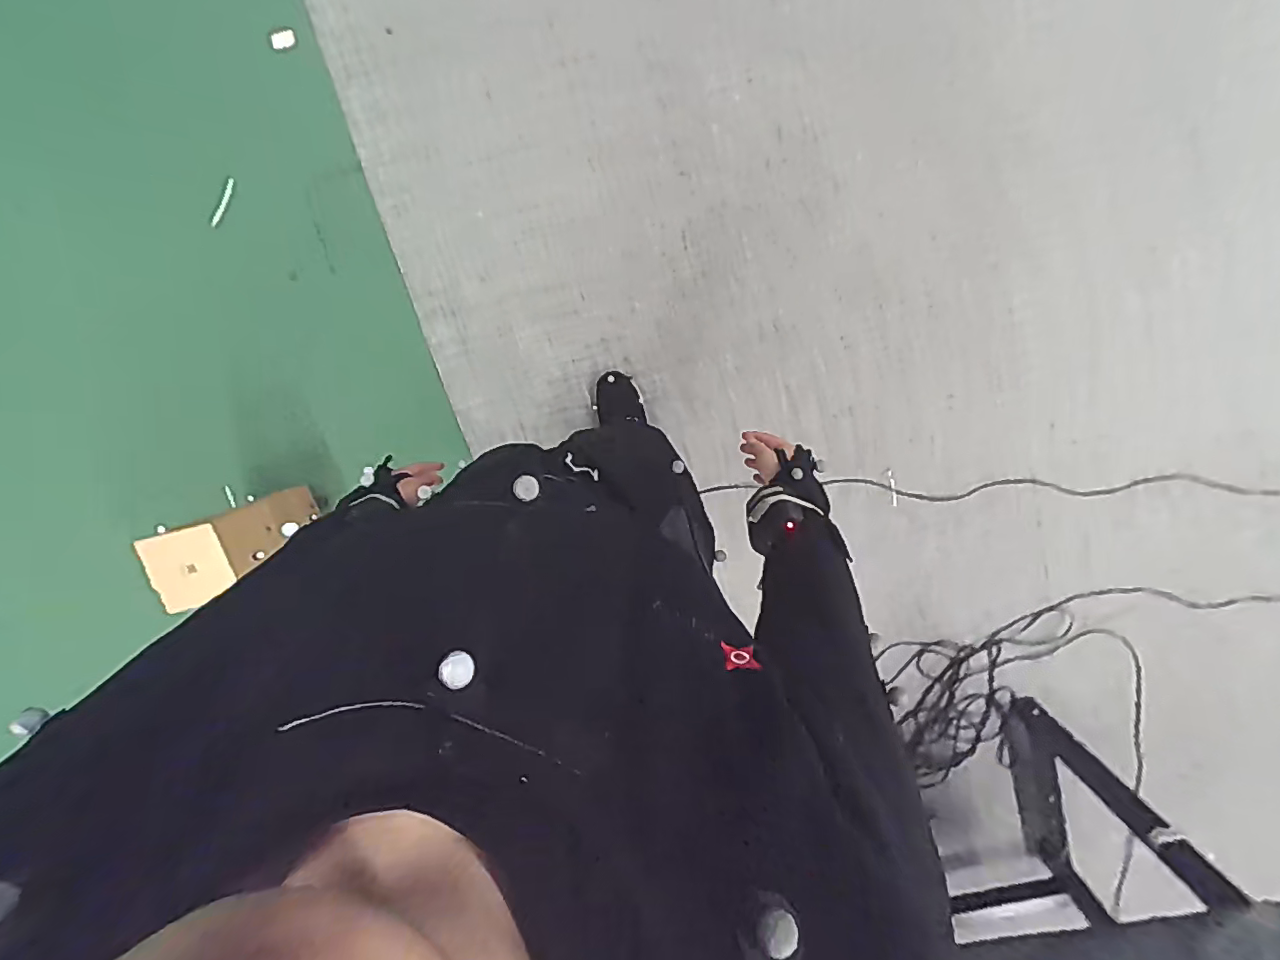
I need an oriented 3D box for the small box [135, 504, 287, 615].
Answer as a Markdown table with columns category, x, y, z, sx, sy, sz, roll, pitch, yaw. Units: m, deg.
| category | x | y | z | sx | sy | sz | roll | pitch | yaw |
| --- | --- | --- | --- | --- | --- | --- | --- | --- | --- |
| small box | -0.912 | 0.165 | 1.176 | 0.179 | 0.176 | 0.168 | -14 | 104 | 5 |
